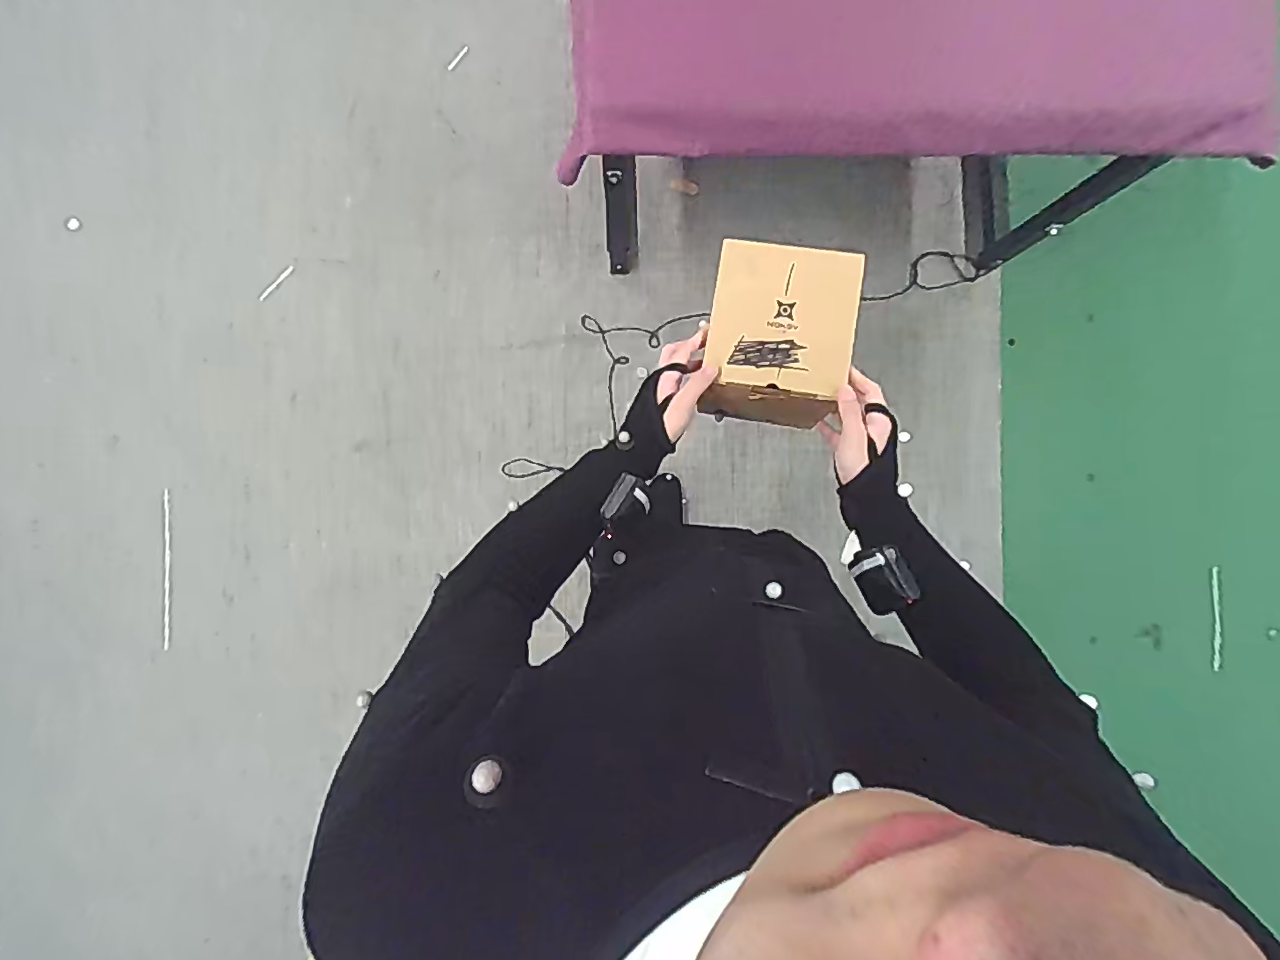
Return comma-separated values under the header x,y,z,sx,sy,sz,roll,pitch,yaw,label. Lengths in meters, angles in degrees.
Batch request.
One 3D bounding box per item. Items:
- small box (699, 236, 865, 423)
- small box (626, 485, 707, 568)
x,y,z,sx,sy,sz,roll,pitch,yaw,label
0.170,-0.181,0.698,0.168,0.176,0.179,9,85,6,small box
0.075,0.134,1.583,0.168,0.176,0.179,36,88,5,small box
